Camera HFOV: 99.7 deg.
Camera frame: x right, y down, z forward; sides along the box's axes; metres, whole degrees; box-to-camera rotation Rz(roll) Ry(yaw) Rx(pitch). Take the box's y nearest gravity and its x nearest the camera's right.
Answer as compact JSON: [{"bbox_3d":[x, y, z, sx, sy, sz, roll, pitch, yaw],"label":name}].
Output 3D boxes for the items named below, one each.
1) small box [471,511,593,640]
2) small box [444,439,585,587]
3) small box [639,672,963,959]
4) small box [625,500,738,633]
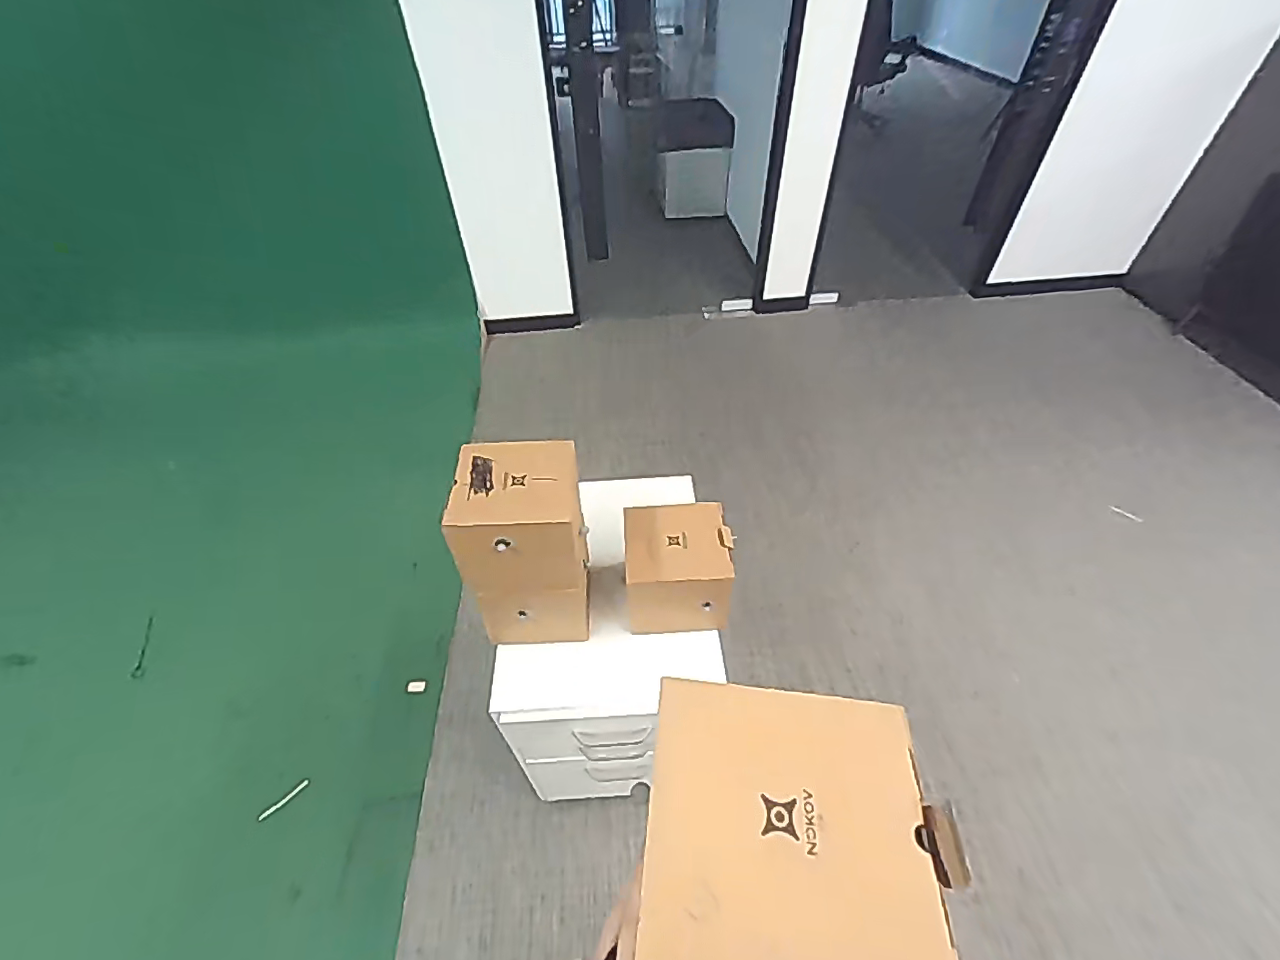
[{"bbox_3d":[-0.178,0.170,0.953,0.179,0.176,0.168,-2,47,-1],"label":"small box"},{"bbox_3d":[-0.181,0.054,0.835,0.179,0.176,0.168,-2,47,-3],"label":"small box"},{"bbox_3d":[0.094,0.263,0.395,0.179,0.176,0.168,5,46,4],"label":"small box"},{"bbox_3d":[0.067,0.156,0.962,0.179,0.176,0.168,-5,46,0],"label":"small box"}]
